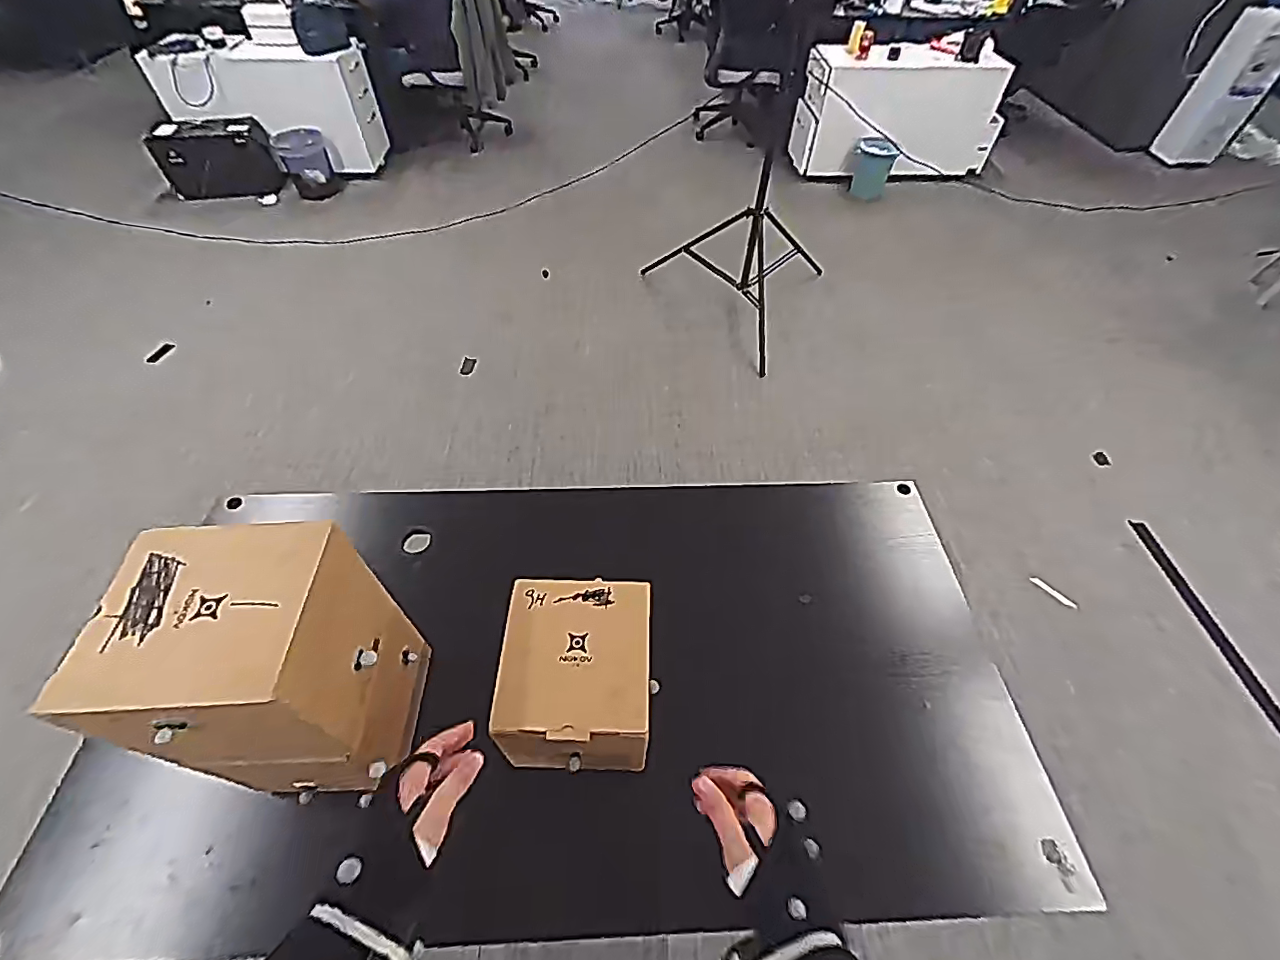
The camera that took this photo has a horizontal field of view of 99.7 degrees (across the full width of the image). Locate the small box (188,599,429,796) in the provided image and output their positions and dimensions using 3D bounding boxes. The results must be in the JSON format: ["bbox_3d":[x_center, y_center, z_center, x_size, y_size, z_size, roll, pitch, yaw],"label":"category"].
[{"bbox_3d":[-0.366,0.260,0.644,0.168,0.176,0.179,-2,52,-2],"label":"small box"}]

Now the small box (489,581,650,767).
[{"bbox_3d":[-0.072,0.242,0.664,0.168,0.176,0.179,1,52,0],"label":"small box"}]

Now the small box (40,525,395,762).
[{"bbox_3d":[-0.364,0.159,0.514,0.179,0.176,0.168,-2,51,-3],"label":"small box"}]
